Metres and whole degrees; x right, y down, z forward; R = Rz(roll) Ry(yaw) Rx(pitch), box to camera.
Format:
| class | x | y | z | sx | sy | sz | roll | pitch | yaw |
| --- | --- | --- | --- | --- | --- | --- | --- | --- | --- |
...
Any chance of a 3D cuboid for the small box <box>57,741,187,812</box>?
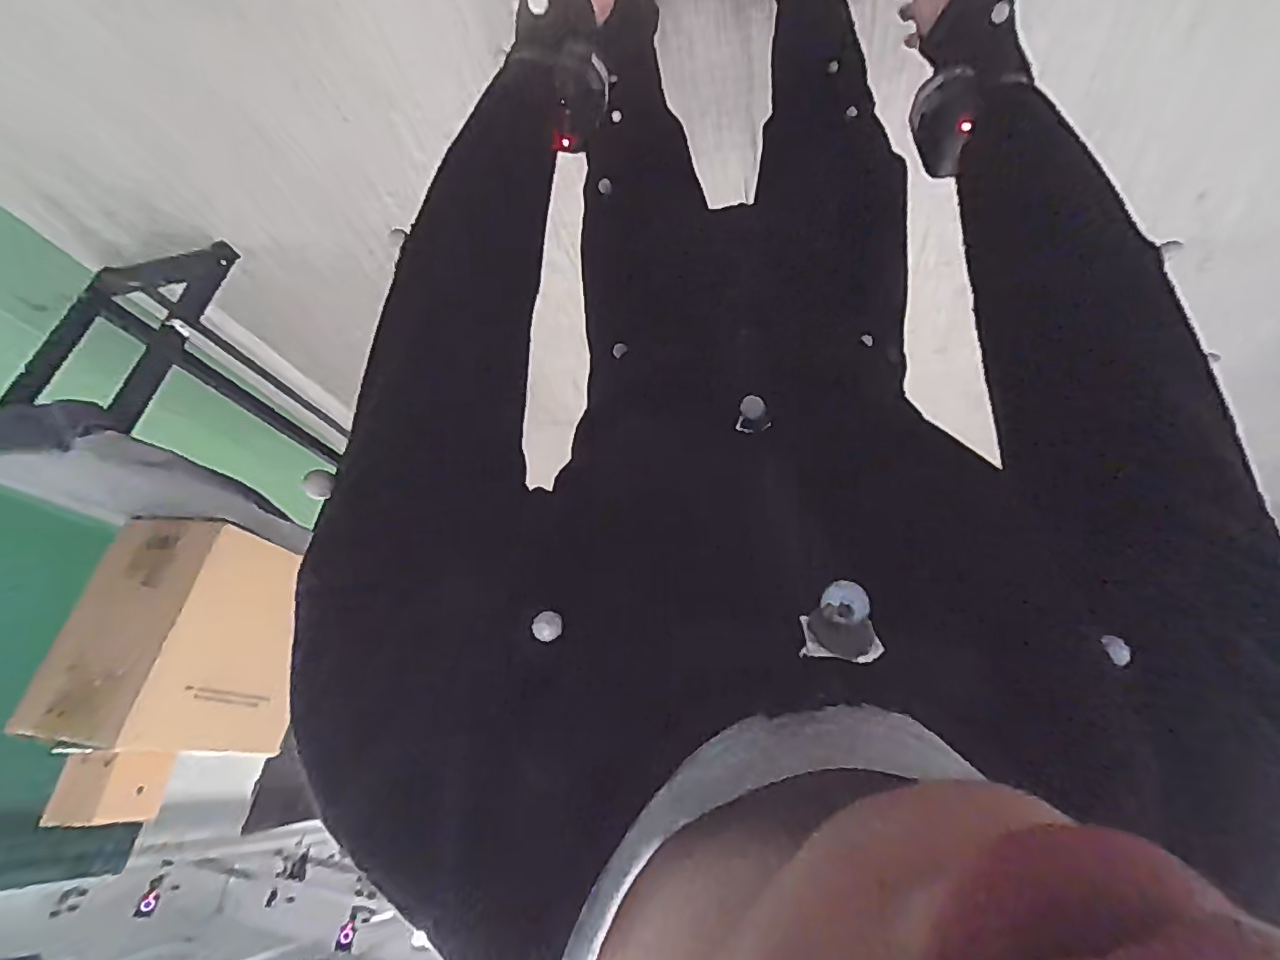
| class | x | y | z | sx | sy | sz | roll | pitch | yaw |
| --- | --- | --- | --- | --- | --- | --- | --- | --- | --- |
| small box | -1.443 | 0.830 | 1.519 | 0.168 | 0.176 | 0.179 | -5 | 152 | 11 |
